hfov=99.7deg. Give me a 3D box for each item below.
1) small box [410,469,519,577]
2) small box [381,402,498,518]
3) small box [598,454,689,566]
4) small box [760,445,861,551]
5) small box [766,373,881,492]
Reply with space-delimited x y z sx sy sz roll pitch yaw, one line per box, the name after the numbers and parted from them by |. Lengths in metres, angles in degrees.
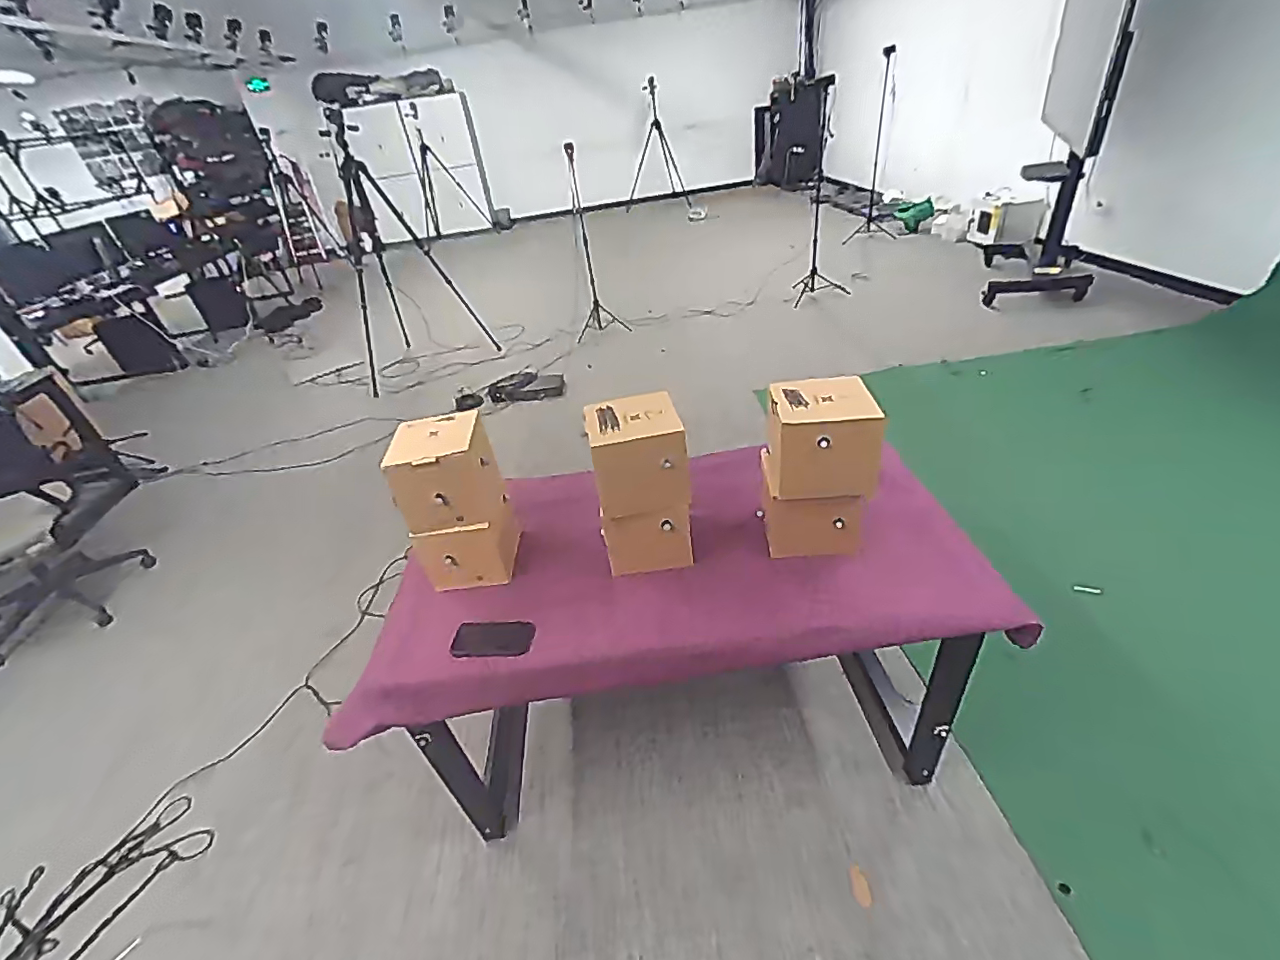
-0.377 0.100 1.199 0.168 0.176 0.179 -6 36 3 | small box
-0.397 -0.036 1.109 0.168 0.176 0.179 -9 37 -2 | small box
0.011 0.066 1.166 0.179 0.176 0.168 -7 36 2 | small box
0.349 0.035 1.142 0.179 0.176 0.168 -4 36 8 | small box
0.339 -0.088 1.033 0.179 0.176 0.168 -3 36 7 | small box
